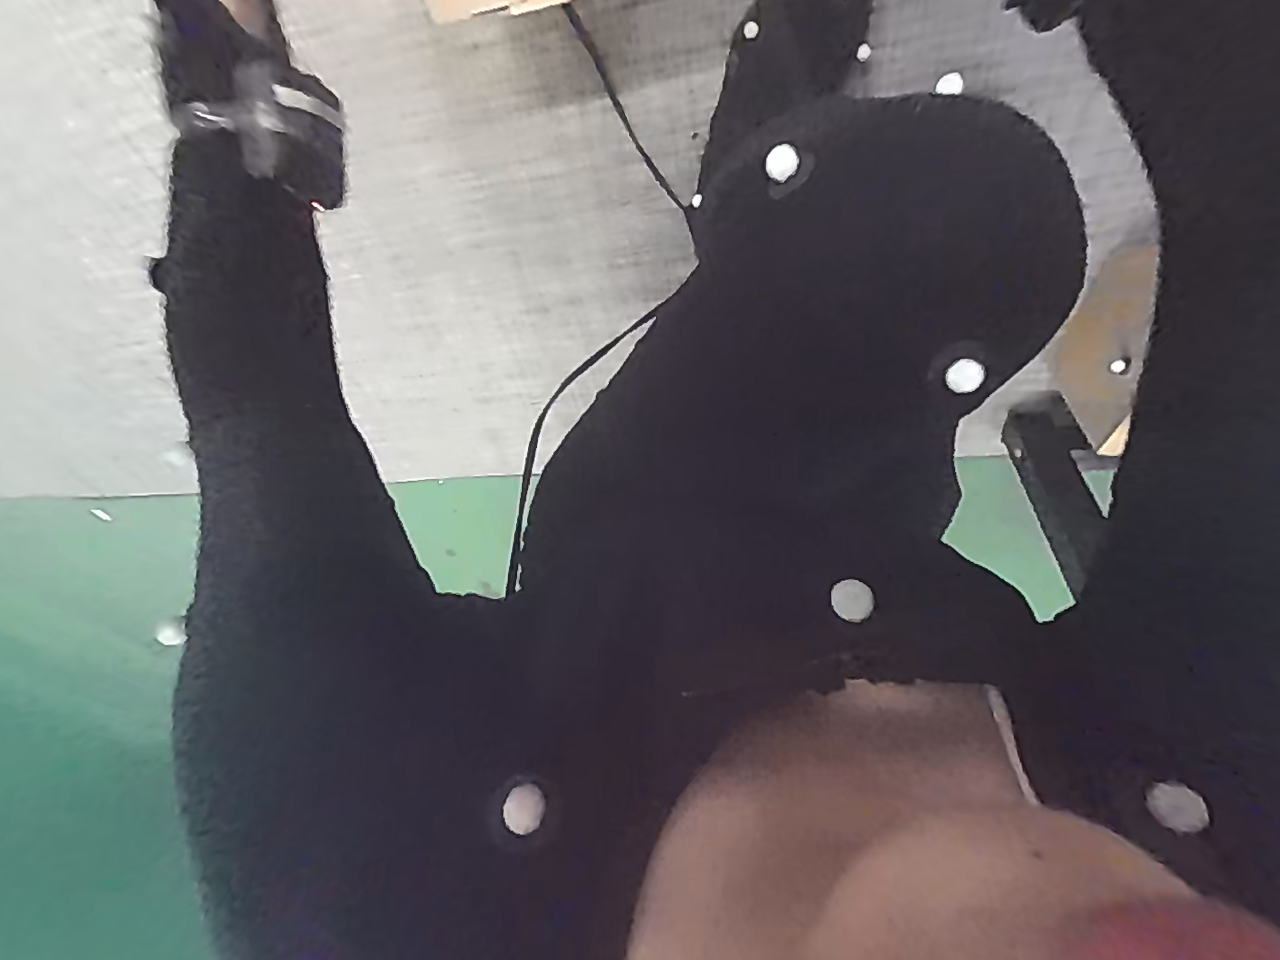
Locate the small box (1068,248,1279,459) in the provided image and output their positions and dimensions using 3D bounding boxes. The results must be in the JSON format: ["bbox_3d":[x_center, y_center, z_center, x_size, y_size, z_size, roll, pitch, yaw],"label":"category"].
[{"bbox_3d":[0.628,-0.143,0.604,0.168,0.176,0.179,1,140,11],"label":"small box"}]
